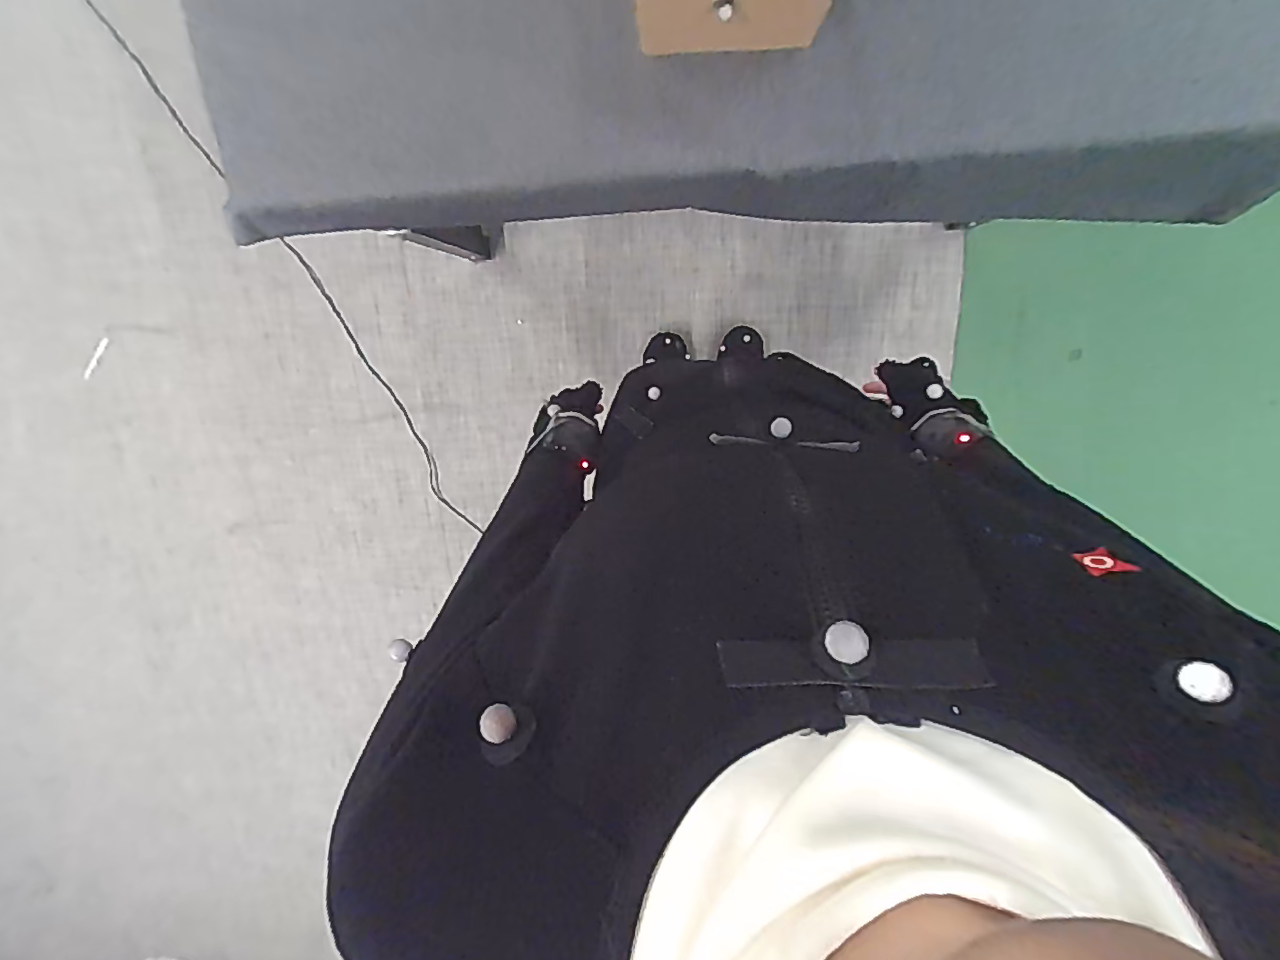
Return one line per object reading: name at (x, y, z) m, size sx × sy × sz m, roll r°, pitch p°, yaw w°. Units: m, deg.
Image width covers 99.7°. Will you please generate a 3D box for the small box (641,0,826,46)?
small box at (0.087, -0.506, 0.461) m, size 0.179 × 0.176 × 0.168 m, roll 0°, pitch 106°, yaw 4°
